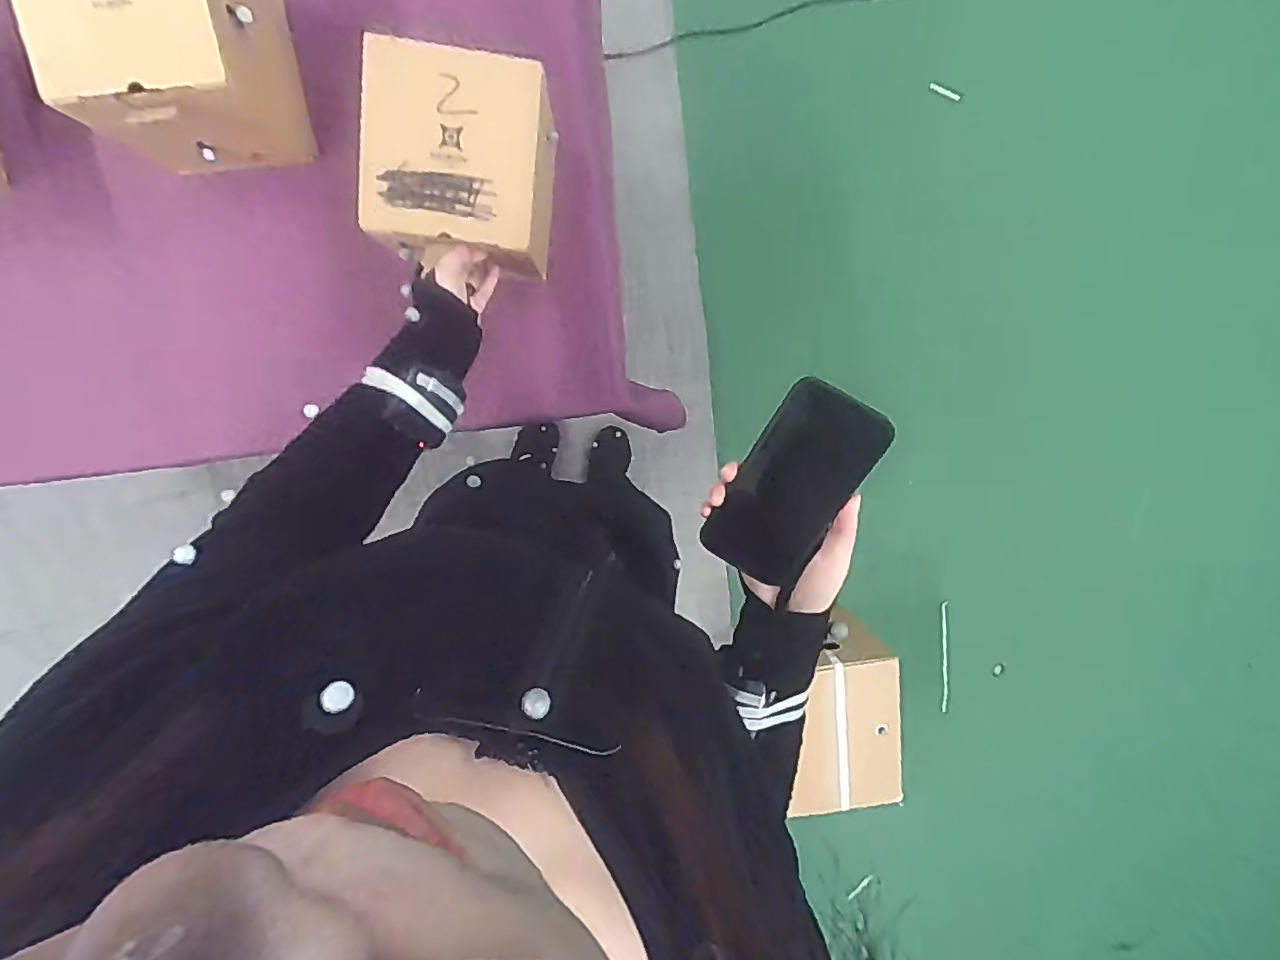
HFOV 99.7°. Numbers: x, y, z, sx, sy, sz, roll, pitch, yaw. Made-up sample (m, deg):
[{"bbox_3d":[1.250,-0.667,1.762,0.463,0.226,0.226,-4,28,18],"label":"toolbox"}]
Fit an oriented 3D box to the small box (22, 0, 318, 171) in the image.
[{"bbox_3d":[-0.472,-0.452,0.560,0.168,0.176,0.179,-8,101,-3],"label":"small box"}]
